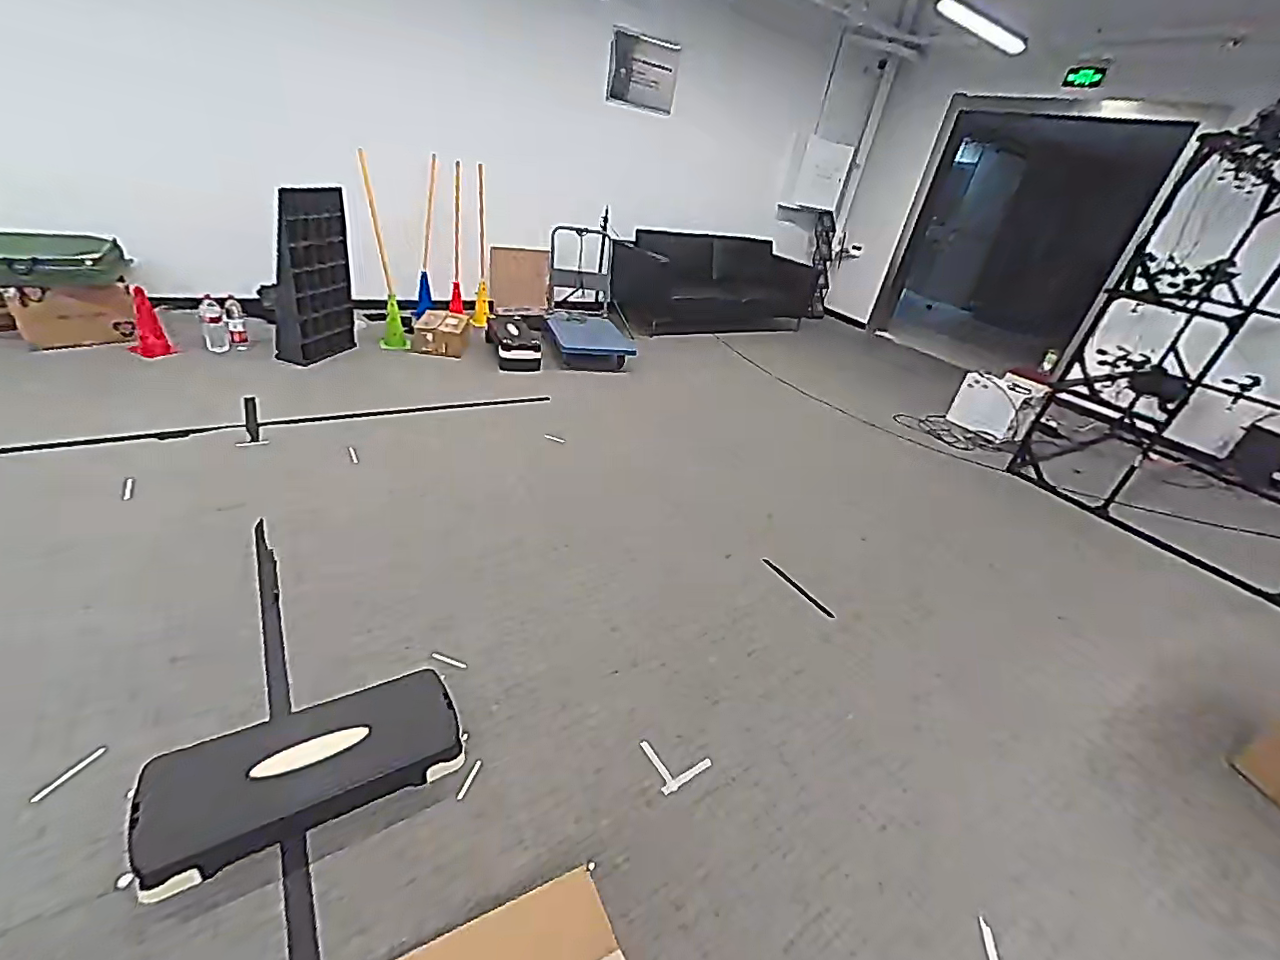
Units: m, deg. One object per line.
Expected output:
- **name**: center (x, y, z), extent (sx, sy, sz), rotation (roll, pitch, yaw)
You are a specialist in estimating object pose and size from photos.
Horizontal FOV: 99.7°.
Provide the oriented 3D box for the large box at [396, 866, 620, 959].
- **large box**: center (-0.233, 0.960, 0.892), extent (0.408, 0.320, 0.320), rotation (-7, 35, -30)
